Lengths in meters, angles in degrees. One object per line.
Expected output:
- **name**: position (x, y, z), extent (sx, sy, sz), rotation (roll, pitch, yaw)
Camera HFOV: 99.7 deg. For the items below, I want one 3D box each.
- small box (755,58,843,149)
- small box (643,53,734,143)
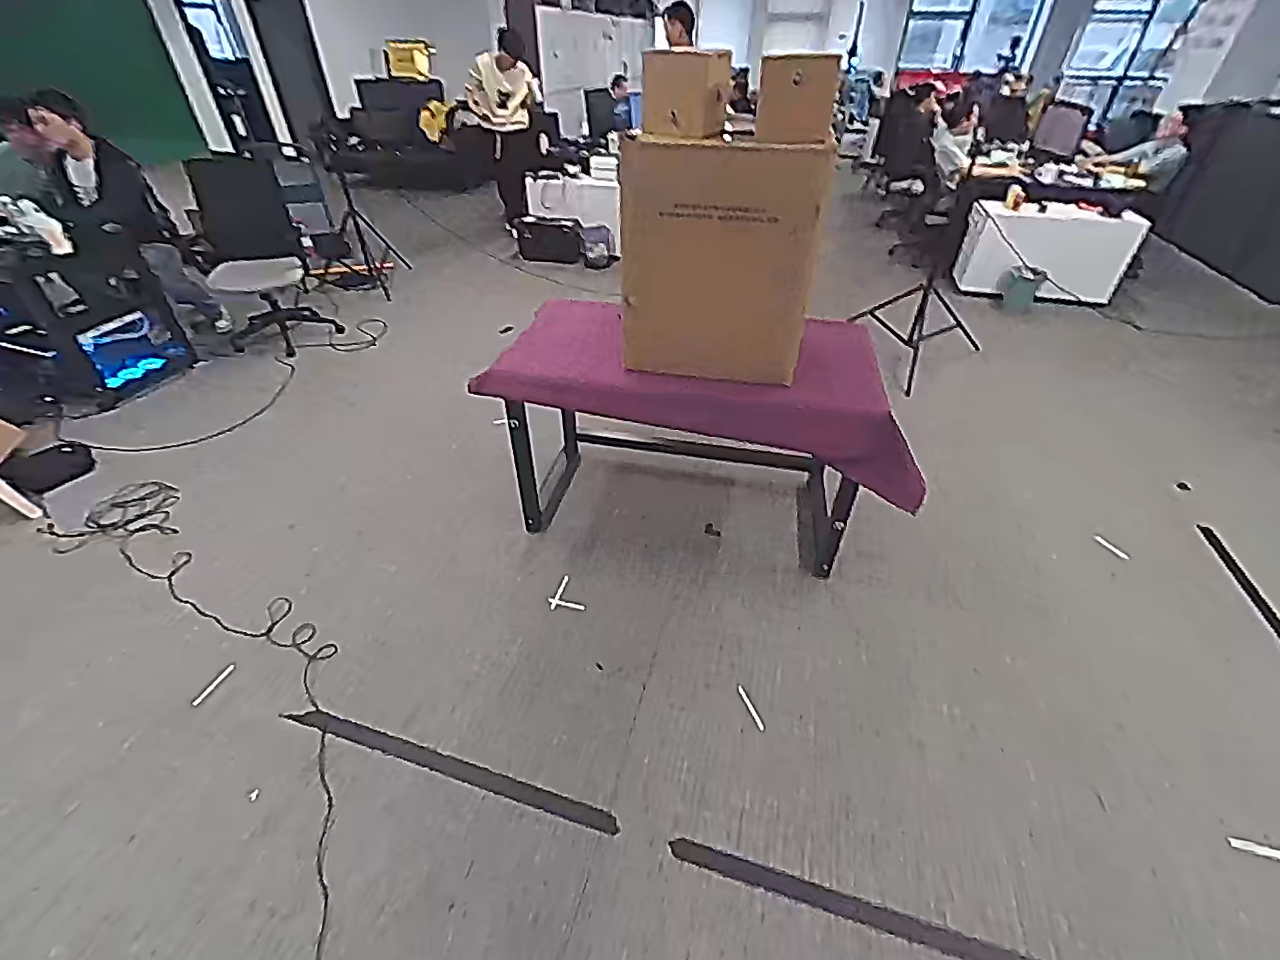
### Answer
- **small box**: position (0.373, -0.900, 1.294), extent (0.179, 0.176, 0.168), rotation (6, 40, 9)
- **small box**: position (0.119, -0.962, 1.363), extent (0.179, 0.176, 0.168), rotation (19, 44, 20)
